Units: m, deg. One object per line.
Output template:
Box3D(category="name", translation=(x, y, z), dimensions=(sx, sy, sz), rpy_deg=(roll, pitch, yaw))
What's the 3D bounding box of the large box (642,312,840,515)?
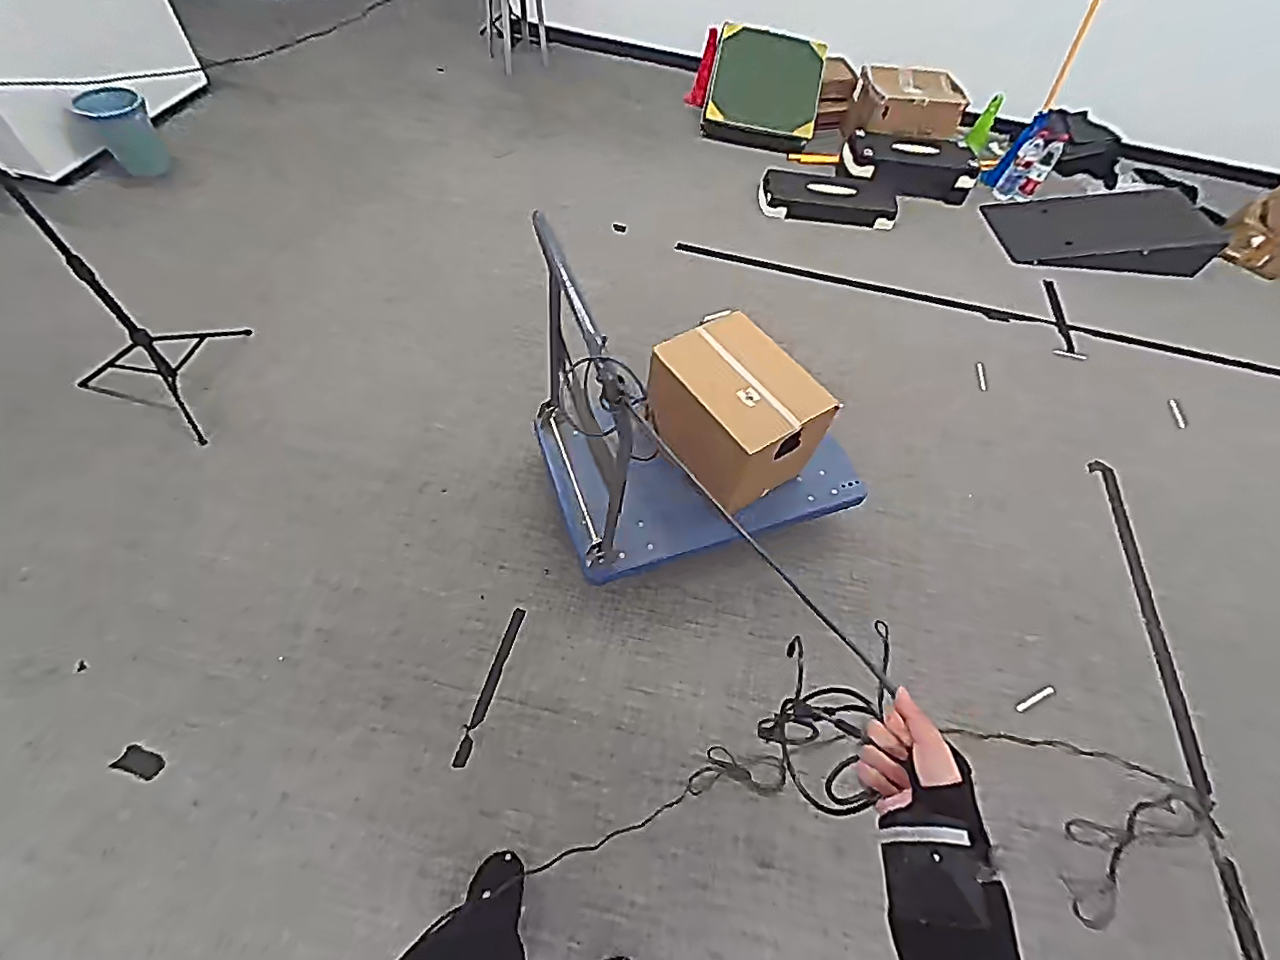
Box3D(category="large box", translation=(0.251, -0.185, 1.496), dimensions=(0.320, 0.320, 0.408), rpy_deg=(-29, 65, -21))
